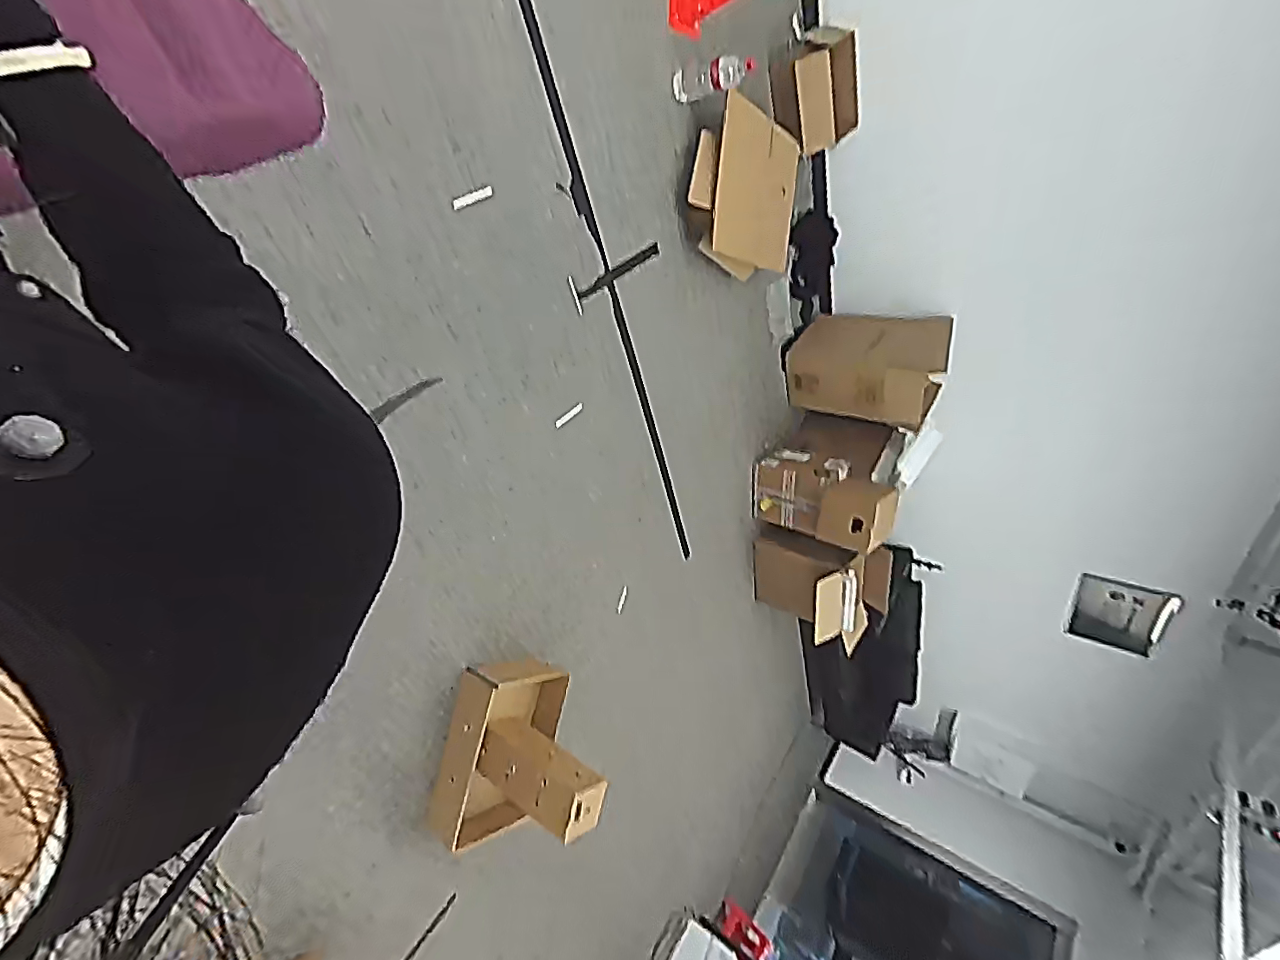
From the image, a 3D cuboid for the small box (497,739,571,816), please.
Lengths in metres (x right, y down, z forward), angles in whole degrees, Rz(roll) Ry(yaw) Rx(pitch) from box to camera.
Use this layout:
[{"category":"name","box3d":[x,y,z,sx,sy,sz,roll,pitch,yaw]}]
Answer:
[{"category":"small box","box3d":[-0.381,1.061,1.949,0.179,0.176,0.168,17,87,-53]}]

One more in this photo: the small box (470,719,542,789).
[{"category":"small box","box3d":[-0.507,1.027,2.044,0.179,0.176,0.168,19,86,-54]}]

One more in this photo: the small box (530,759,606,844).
[{"category":"small box","box3d":[-0.249,1.094,1.856,0.179,0.176,0.168,15,89,-55]}]
